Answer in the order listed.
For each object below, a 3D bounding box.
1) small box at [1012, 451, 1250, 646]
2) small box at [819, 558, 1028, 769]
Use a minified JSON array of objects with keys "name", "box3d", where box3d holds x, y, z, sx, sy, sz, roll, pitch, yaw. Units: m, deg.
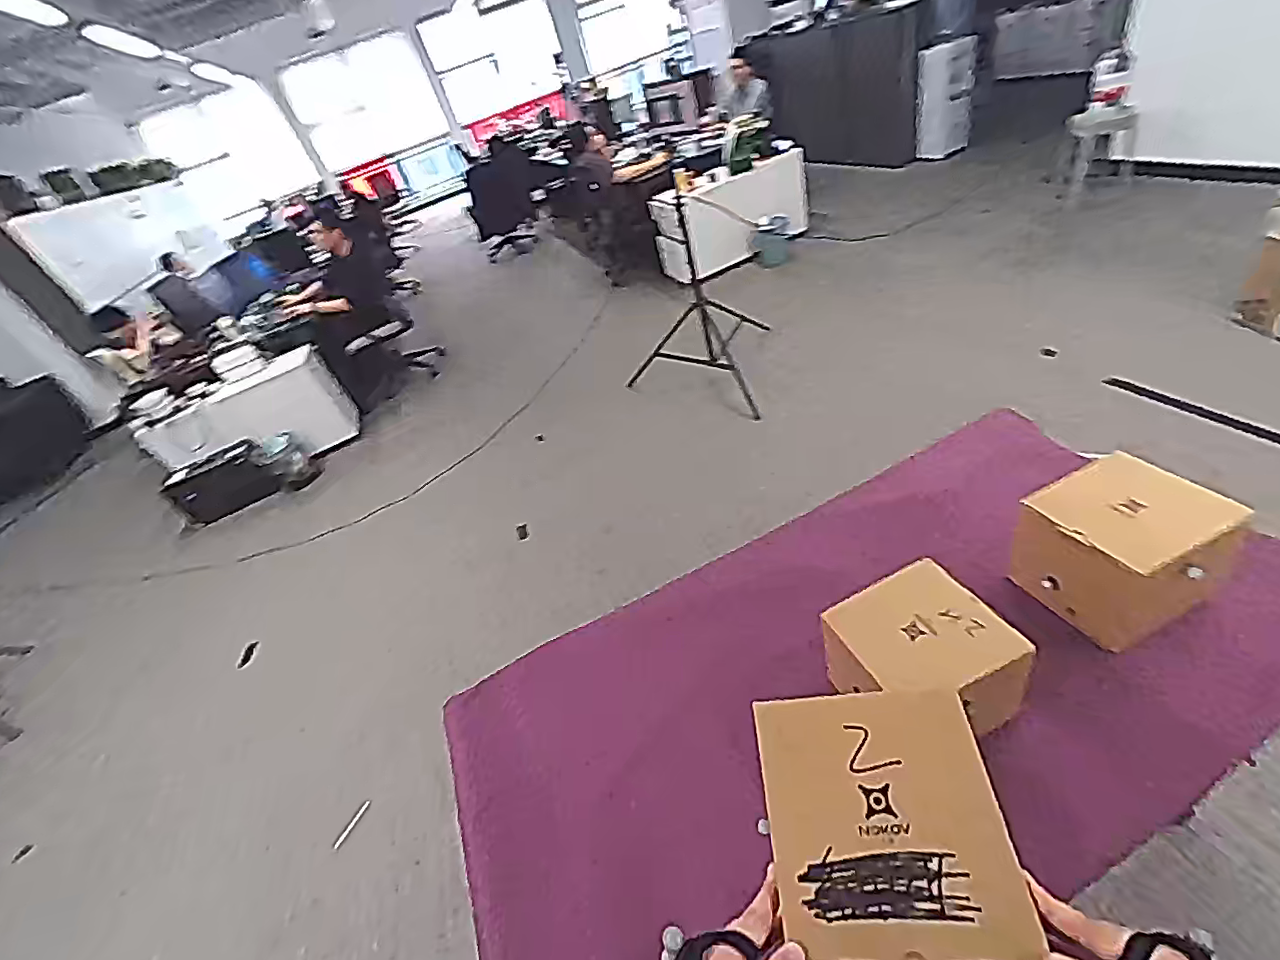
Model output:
[{"name":"small box","box3d":[0.663,0.095,0.759,0.179,0.176,0.168,-26,37,-5]},{"name":"small box","box3d":[0.364,0.243,0.716,0.179,0.176,0.168,-25,38,-6]}]
